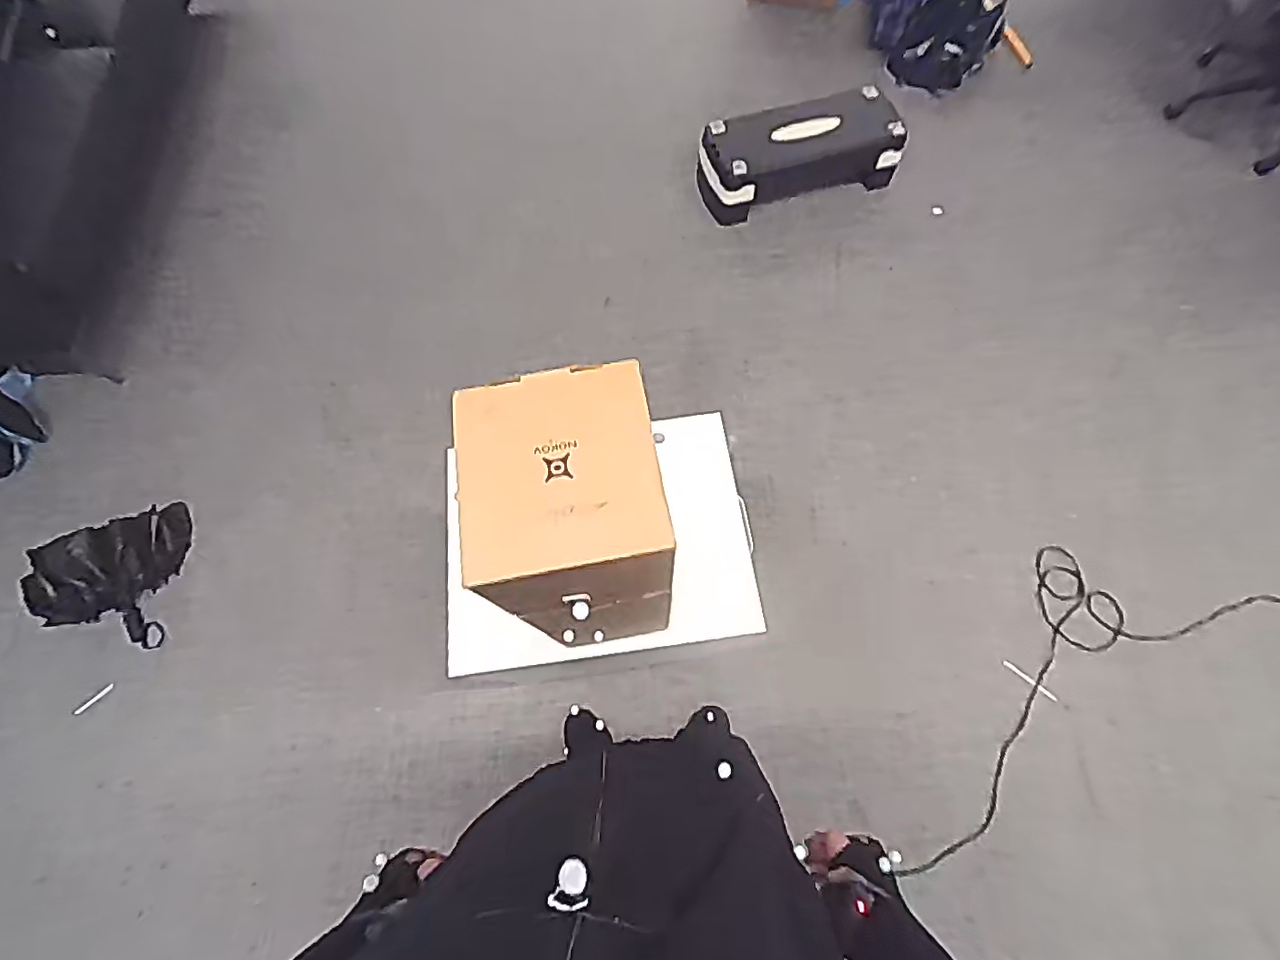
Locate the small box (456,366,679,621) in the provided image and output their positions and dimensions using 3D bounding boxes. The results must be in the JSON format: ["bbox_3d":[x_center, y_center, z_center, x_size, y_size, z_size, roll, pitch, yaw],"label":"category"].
[{"bbox_3d":[-0.063,0.022,0.513,0.168,0.176,0.179,-11,67,-2],"label":"small box"}]

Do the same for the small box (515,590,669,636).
[{"bbox_3d":[-0.058,0.087,0.663,0.168,0.176,0.179,-10,66,-3],"label":"small box"}]

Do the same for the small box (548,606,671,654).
[{"bbox_3d":[-0.053,0.152,0.815,0.168,0.176,0.179,-11,67,-2],"label":"small box"}]
